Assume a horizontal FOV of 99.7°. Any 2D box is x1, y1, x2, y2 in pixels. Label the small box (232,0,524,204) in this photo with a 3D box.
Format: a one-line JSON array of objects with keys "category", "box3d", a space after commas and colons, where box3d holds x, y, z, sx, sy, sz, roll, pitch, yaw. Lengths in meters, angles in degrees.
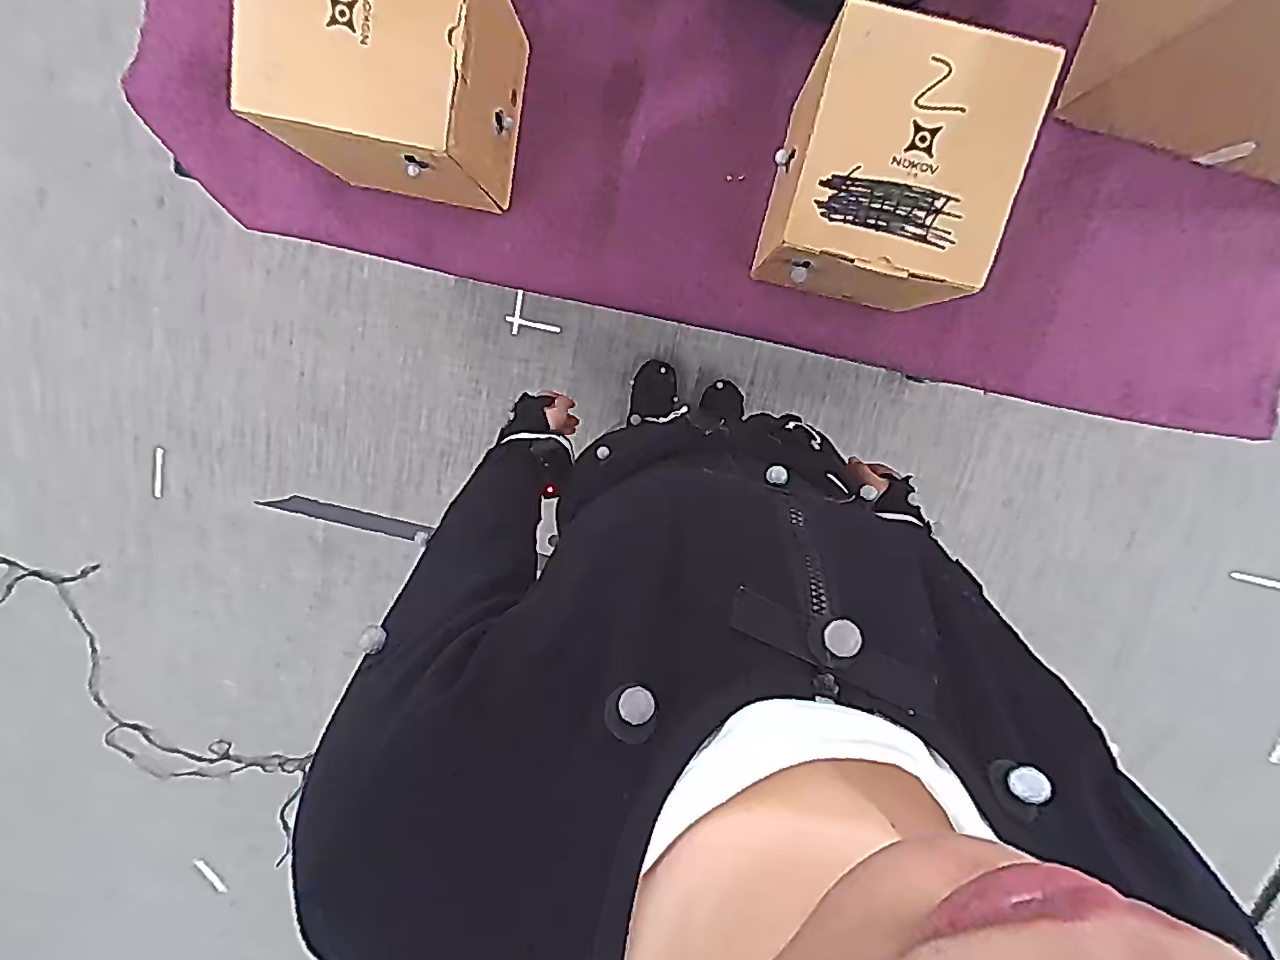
[{"category": "small box", "box3d": [-0.218, -0.370, 0.488, 0.179, 0.176, 0.168, 10, 101, -1]}]
